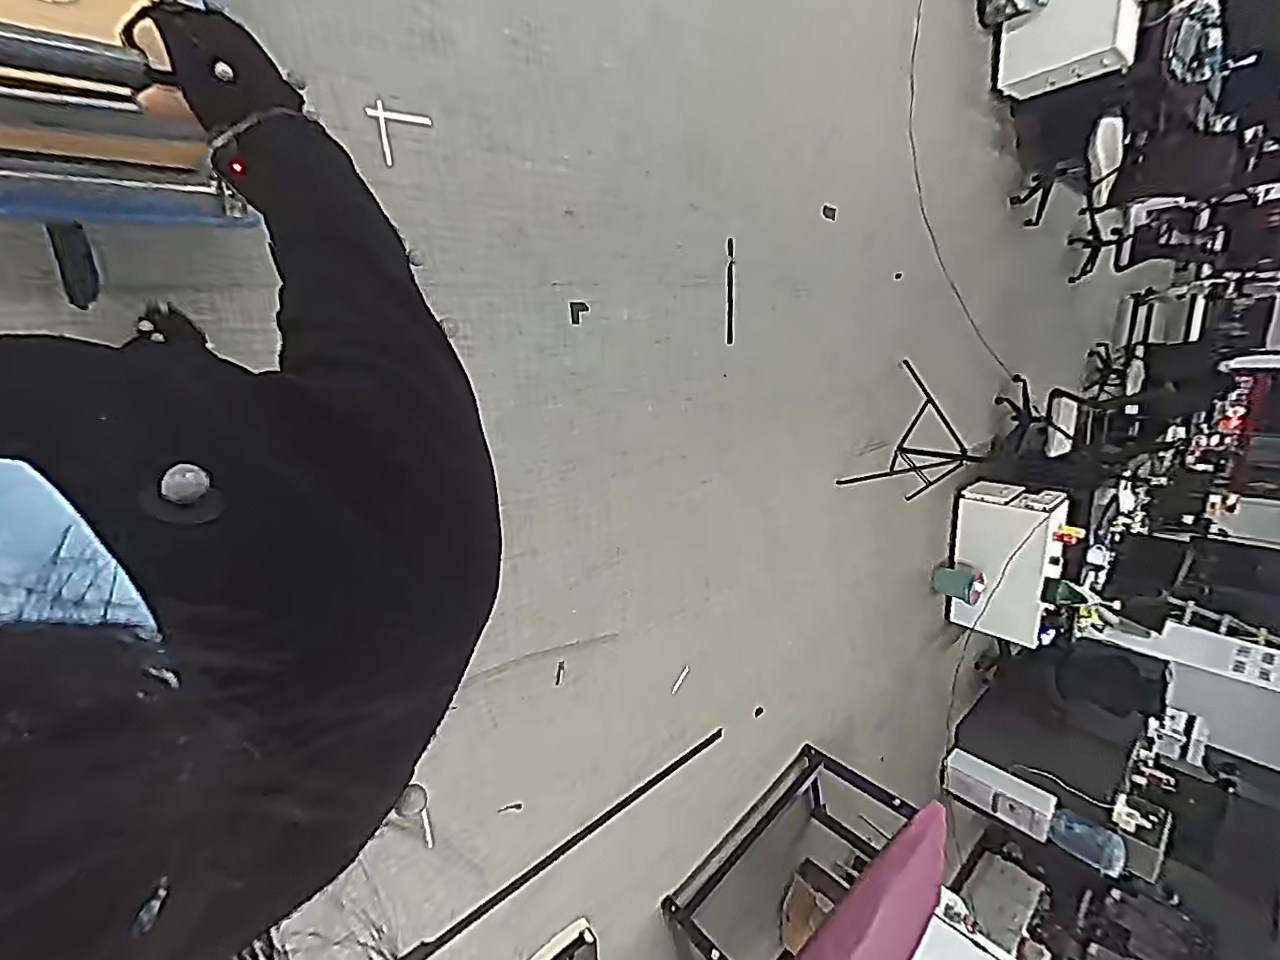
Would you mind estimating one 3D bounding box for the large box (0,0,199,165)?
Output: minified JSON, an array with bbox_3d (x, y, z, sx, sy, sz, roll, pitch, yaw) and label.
[{"bbox_3d":[-0.865,-0.636,0.692,0.408,0.320,0.320,-16,110,-39],"label":"large box"}]
